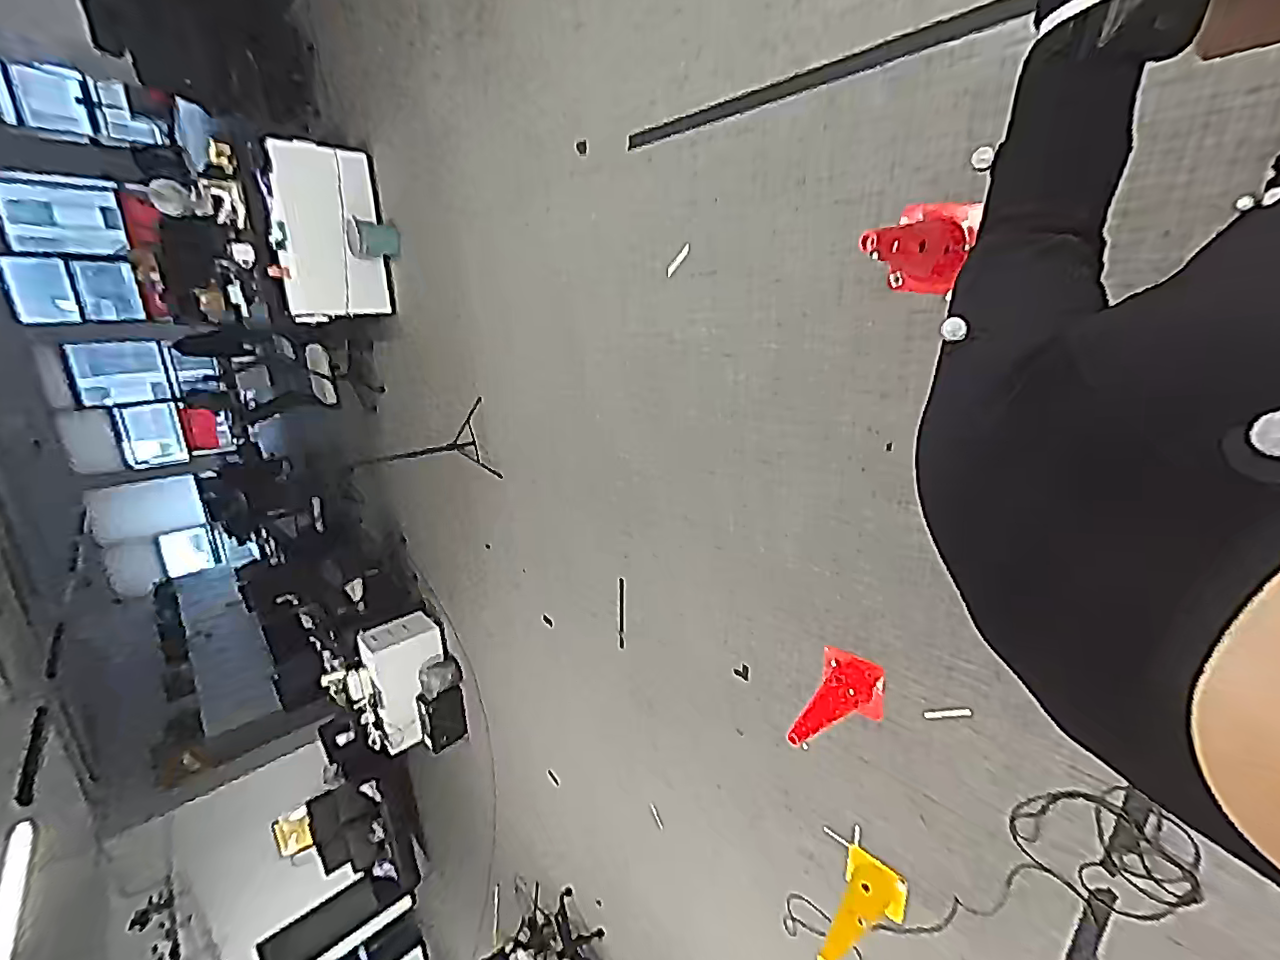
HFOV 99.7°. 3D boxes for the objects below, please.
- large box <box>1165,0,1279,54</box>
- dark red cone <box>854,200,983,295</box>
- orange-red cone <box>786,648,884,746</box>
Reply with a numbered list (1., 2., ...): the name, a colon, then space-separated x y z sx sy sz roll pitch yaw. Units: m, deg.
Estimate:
1. large box: 0.554 -0.473 0.251 0.408 0.320 0.320 16 122 45
2. dark red cone: 0.573 -0.516 1.181 0.201 0.394 0.202 24 120 41
3. orange-red cone: 0.563 0.700 1.644 0.198 0.360 0.199 15 115 47
